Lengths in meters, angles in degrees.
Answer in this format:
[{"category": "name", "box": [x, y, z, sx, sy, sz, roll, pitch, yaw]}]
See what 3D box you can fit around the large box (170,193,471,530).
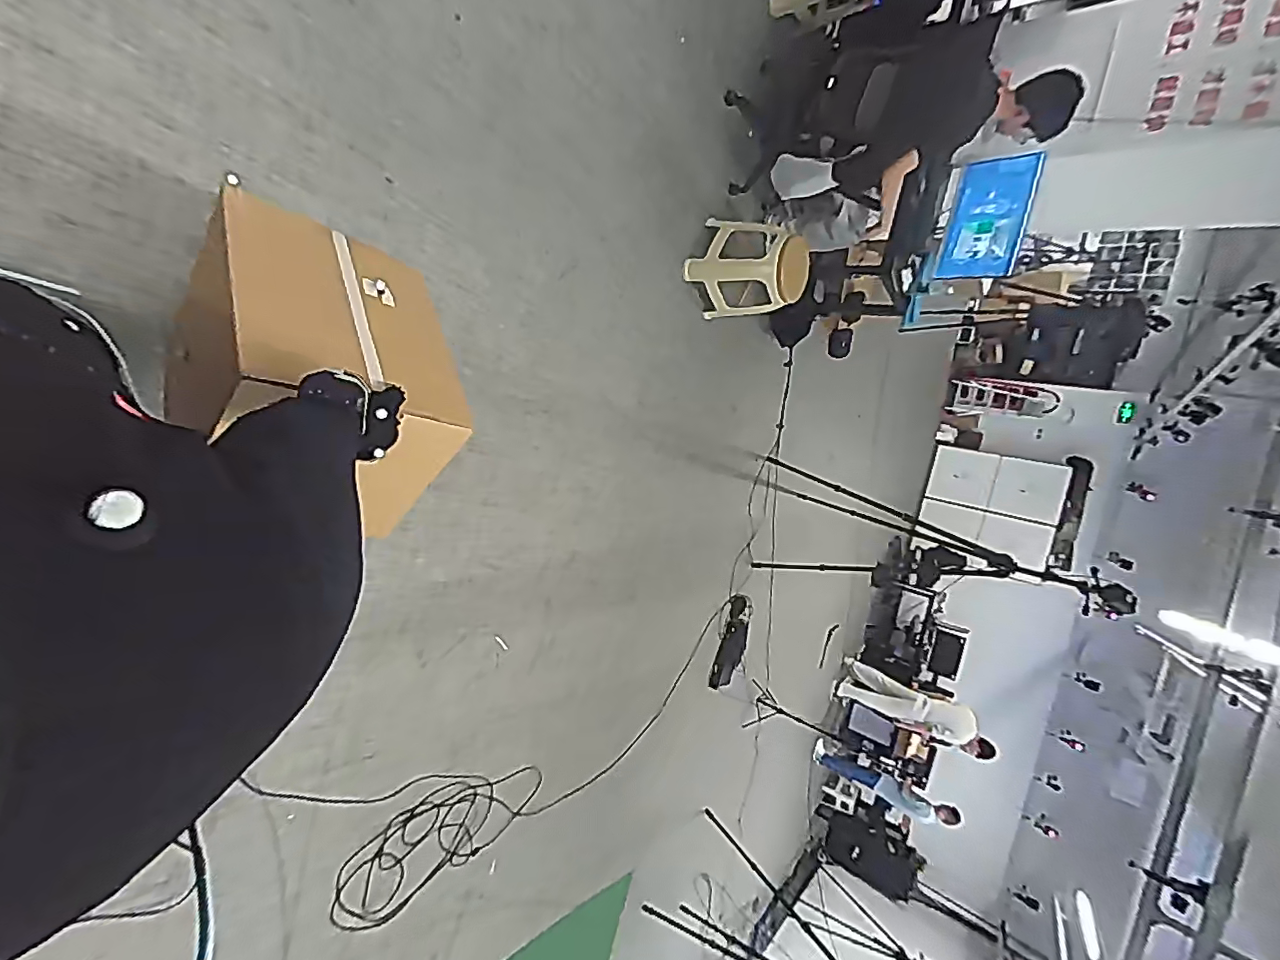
[{"category": "large box", "box": [-0.542, -0.164, 0.897, 0.320, 0.408, 0.320, -41, 150, 26]}]
